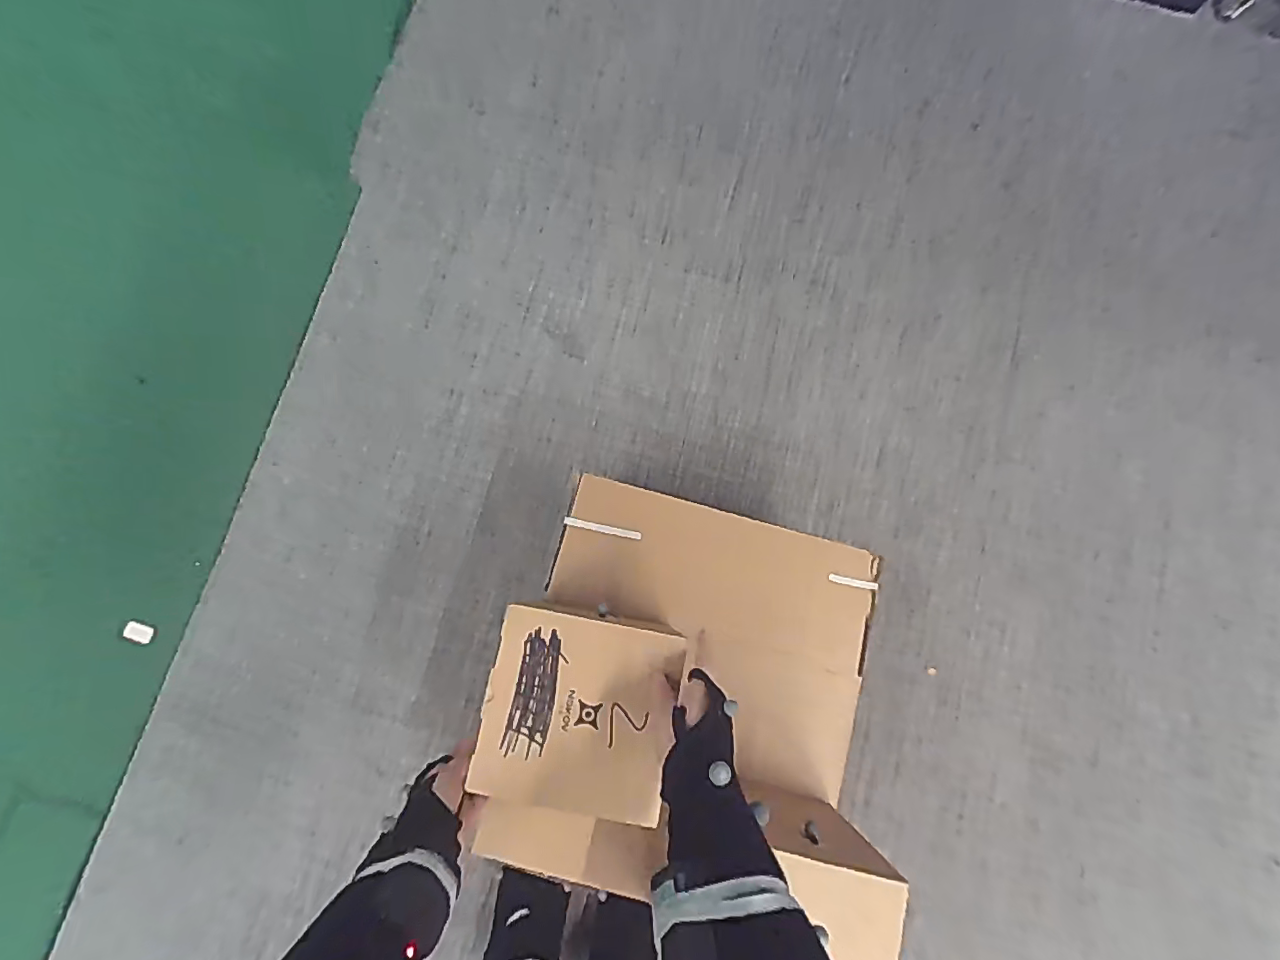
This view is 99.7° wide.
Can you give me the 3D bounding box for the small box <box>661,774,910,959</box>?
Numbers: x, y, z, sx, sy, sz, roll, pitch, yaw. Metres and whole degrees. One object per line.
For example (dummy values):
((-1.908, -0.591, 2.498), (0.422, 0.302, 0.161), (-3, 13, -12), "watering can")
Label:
((0.130, 0.422, 0.539), (0.179, 0.176, 0.168), (16, 79, 0), "small box")
